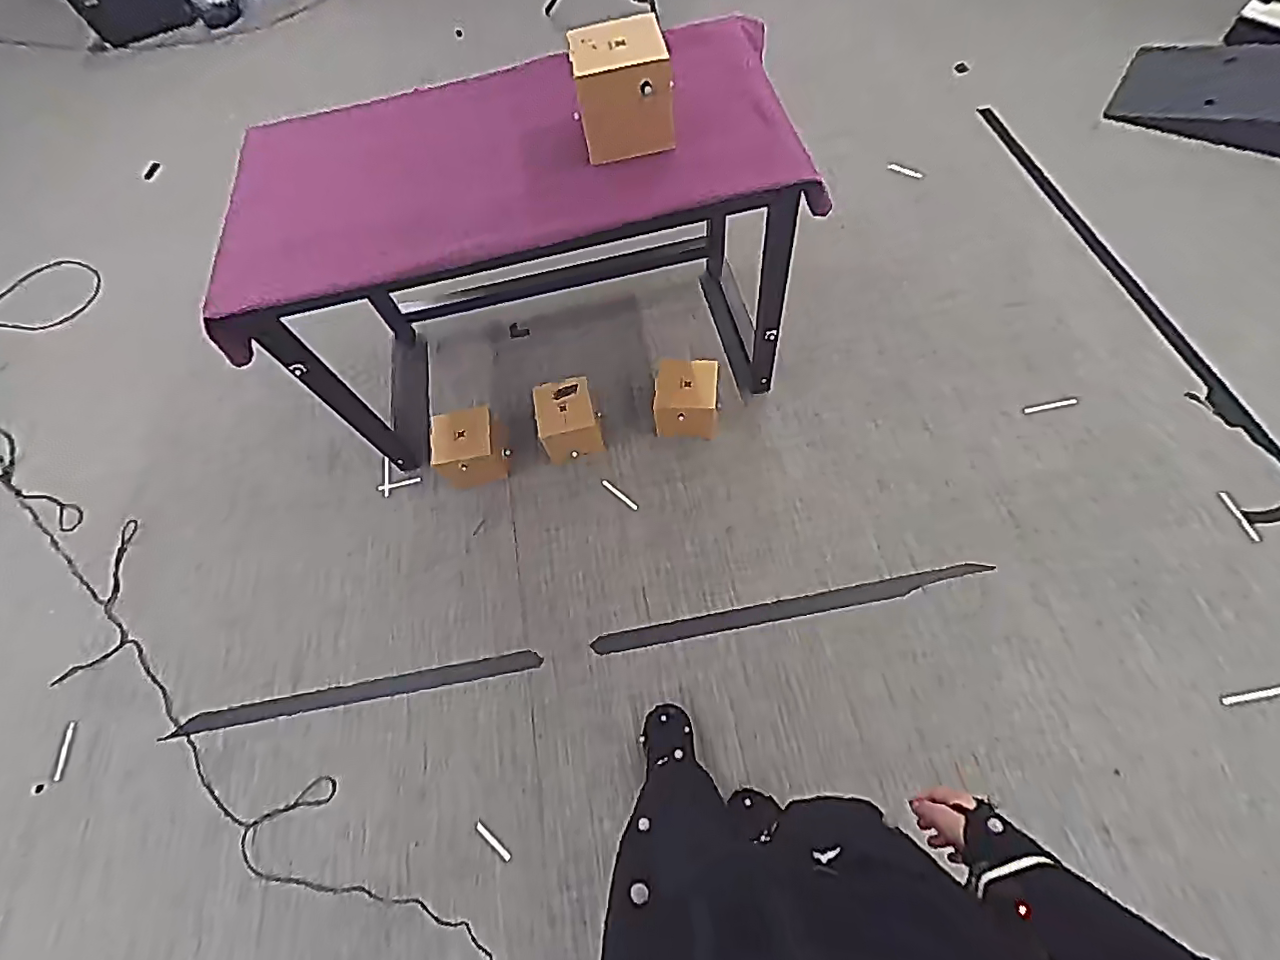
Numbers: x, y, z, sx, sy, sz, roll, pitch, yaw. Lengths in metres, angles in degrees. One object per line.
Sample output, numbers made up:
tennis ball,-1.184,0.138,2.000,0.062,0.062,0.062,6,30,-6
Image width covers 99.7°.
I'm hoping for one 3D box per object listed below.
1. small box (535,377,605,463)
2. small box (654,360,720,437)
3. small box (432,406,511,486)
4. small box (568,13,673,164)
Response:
small box,-0.207,-0.176,1.620,0.168,0.176,0.179,-13,65,1
small box,0.144,-0.238,1.606,0.179,0.176,0.168,2,66,10
small box,-0.502,-0.096,1.622,0.179,0.176,0.168,-11,65,1
small box,-0.032,-0.762,1.064,0.179,0.176,0.168,-11,63,3
